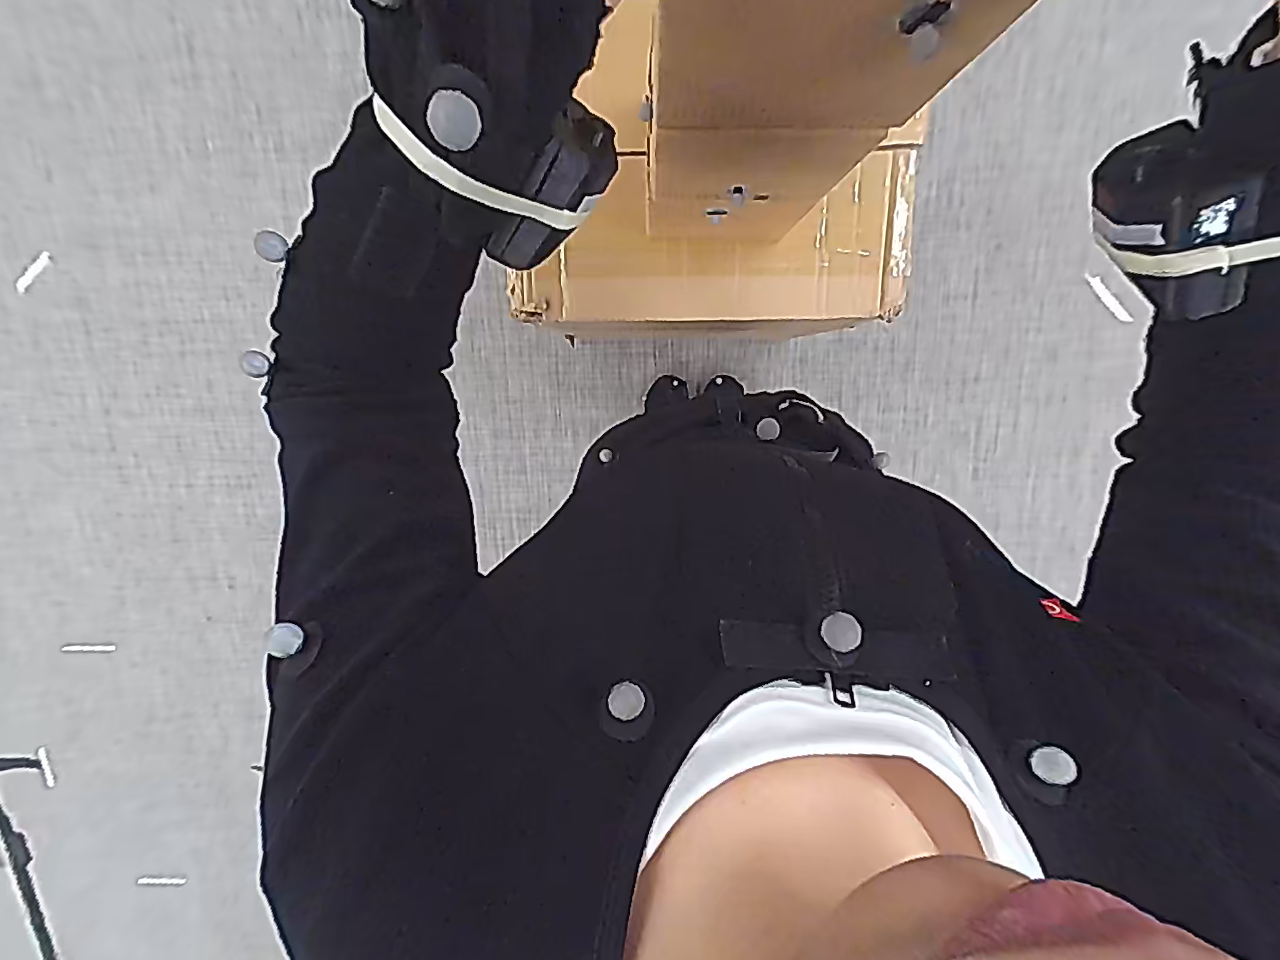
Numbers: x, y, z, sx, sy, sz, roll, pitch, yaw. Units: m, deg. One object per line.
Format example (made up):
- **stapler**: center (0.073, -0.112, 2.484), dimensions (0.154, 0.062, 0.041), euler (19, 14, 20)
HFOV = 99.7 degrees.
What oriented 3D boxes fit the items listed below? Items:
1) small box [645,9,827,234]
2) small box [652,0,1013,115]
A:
- **small box**: center (0.096, -0.380, 0.600), dimensions (0.179, 0.176, 0.168), euler (1, 102, 0)
- **small box**: center (0.096, -0.315, 0.278), dimensions (0.179, 0.176, 0.168), euler (1, 102, 1)
